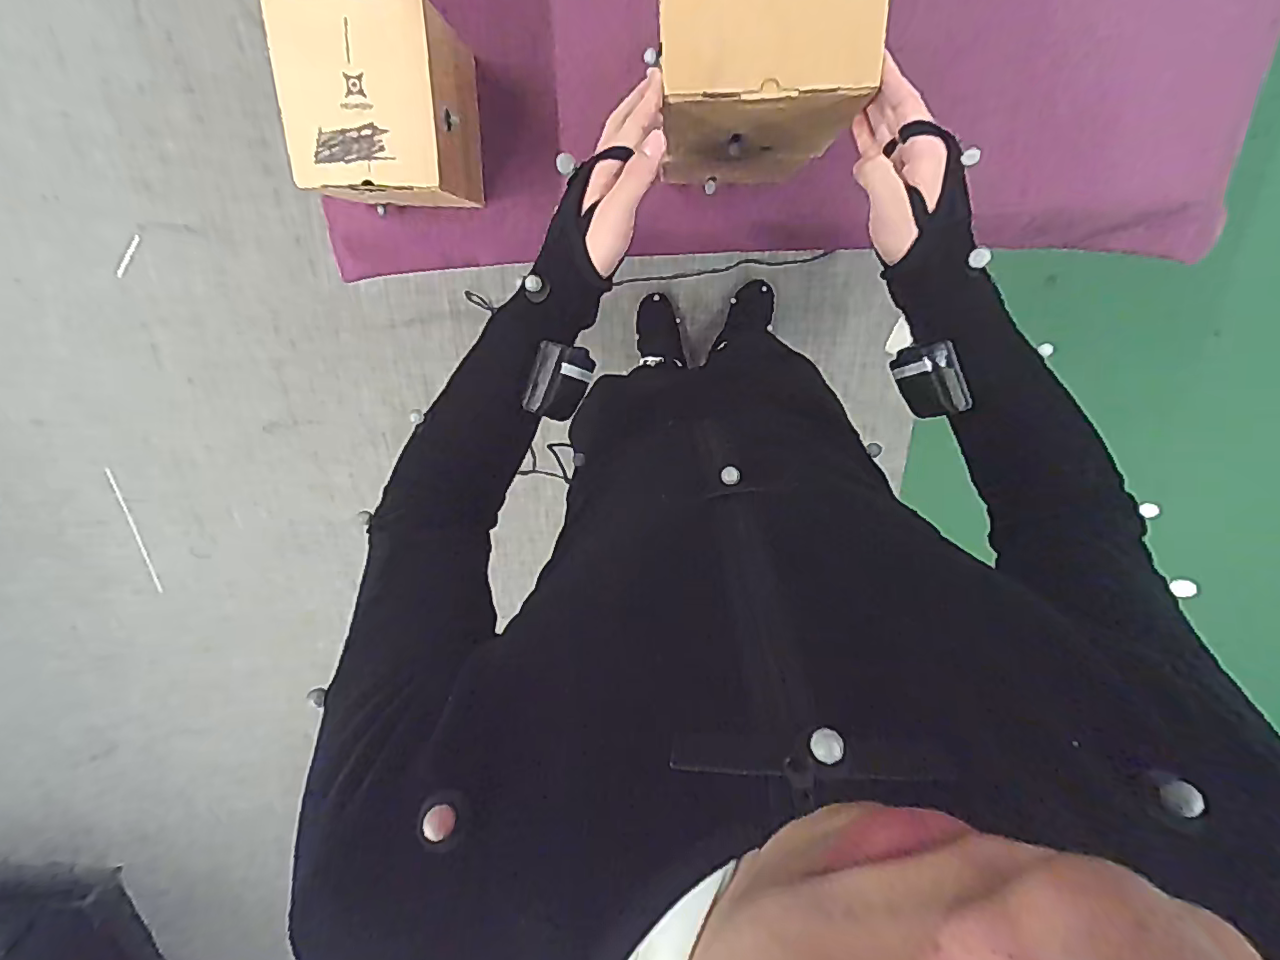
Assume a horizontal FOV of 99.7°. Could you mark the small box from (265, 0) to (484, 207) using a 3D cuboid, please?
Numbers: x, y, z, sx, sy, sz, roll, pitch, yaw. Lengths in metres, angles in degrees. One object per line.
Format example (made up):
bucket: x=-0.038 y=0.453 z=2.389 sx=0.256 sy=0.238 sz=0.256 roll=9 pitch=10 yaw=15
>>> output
small box: x=-0.291 y=-0.427 z=0.638 sx=0.168 sy=0.176 sz=0.179 roll=2 pitch=111 yaw=1

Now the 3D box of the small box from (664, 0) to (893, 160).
small box: x=0.105 y=-0.395 z=0.464 sx=0.168 sy=0.176 sz=0.179 roll=0 pitch=109 yaw=3

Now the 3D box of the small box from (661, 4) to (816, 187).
small box: x=0.108 y=-0.448 z=0.620 sx=0.168 sy=0.176 sz=0.179 roll=0 pitch=111 yaw=3
